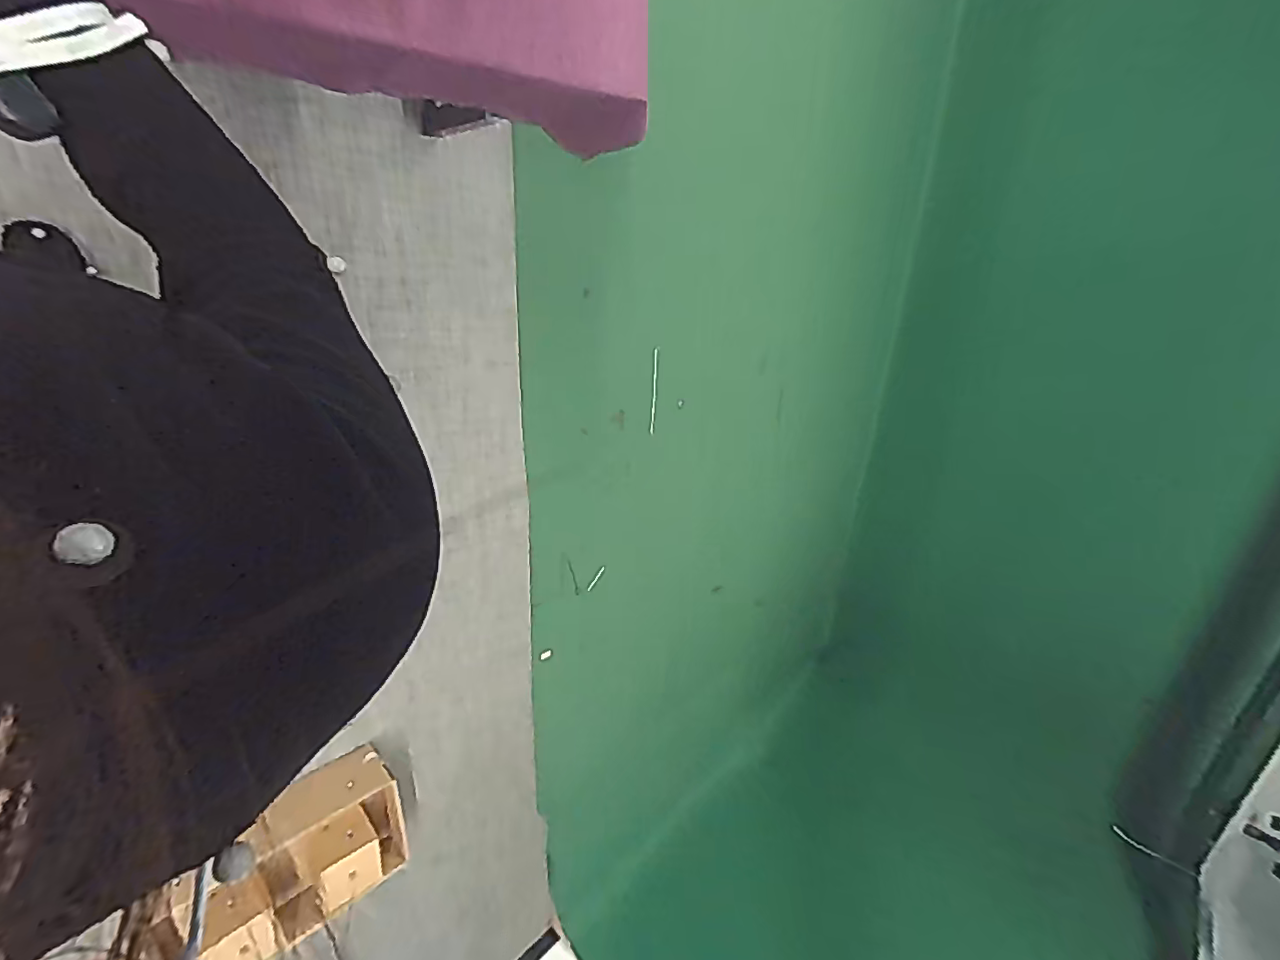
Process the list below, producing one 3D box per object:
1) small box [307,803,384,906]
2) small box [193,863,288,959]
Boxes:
[{"bbox_3d":[-0.921,1.156,1.691,0.168,0.176,0.179,-14,117,-43],"label":"small box"},{"bbox_3d":[-1.114,1.222,1.507,0.168,0.176,0.179,-19,120,-41],"label":"small box"}]
